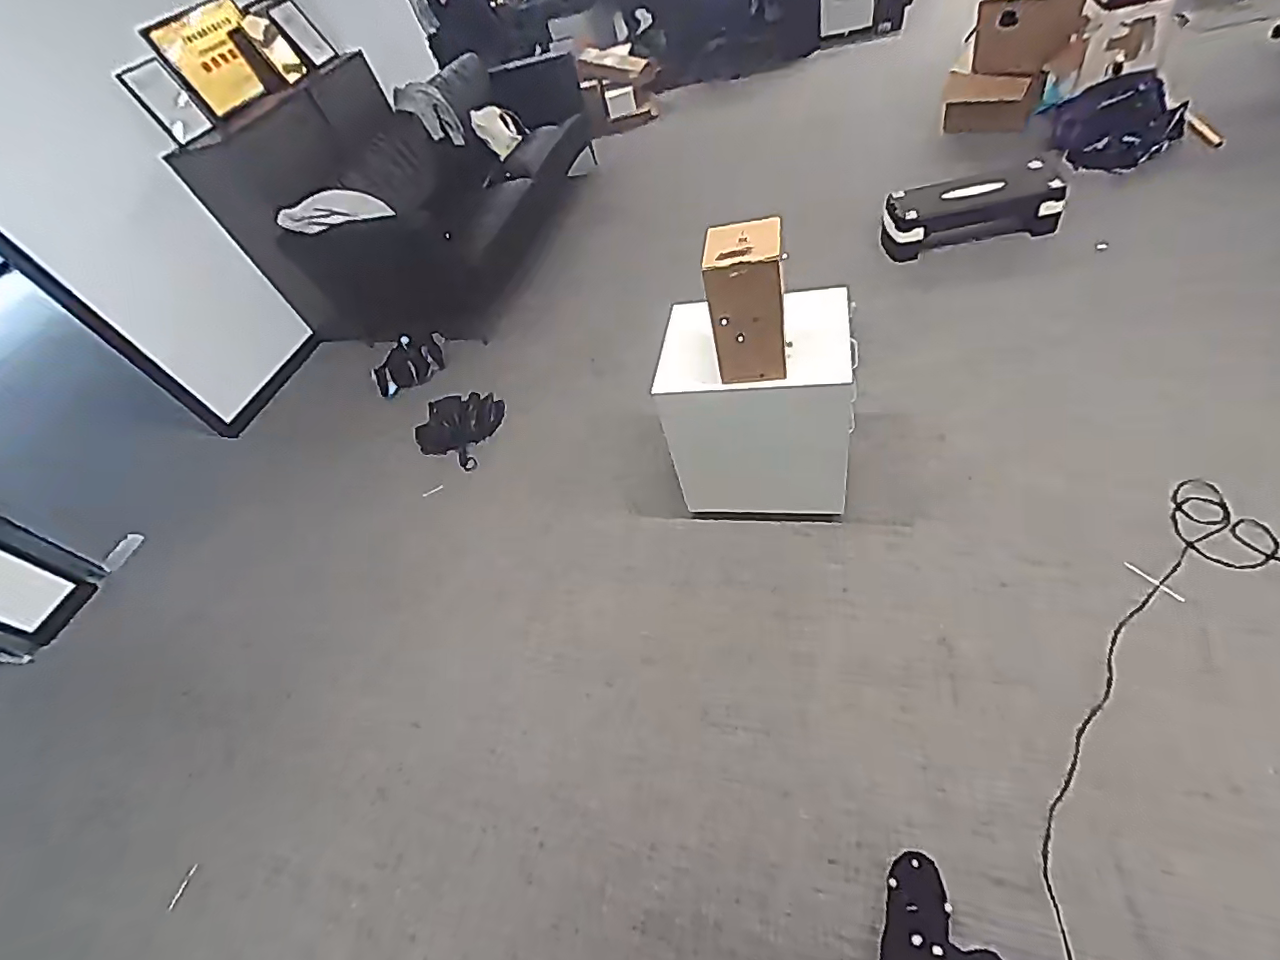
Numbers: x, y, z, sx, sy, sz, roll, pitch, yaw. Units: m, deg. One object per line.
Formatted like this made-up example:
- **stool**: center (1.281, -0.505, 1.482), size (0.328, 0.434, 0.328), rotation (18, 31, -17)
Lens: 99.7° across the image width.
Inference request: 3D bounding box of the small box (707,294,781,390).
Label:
- **small box**: center (0.270, -0.354, 1.381), size (0.168, 0.176, 0.179), rotation (-4, 49, 16)

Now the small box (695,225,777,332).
- **small box**: center (0.230, -0.459, 1.260), size (0.168, 0.176, 0.179), rotation (-3, 49, 16)
